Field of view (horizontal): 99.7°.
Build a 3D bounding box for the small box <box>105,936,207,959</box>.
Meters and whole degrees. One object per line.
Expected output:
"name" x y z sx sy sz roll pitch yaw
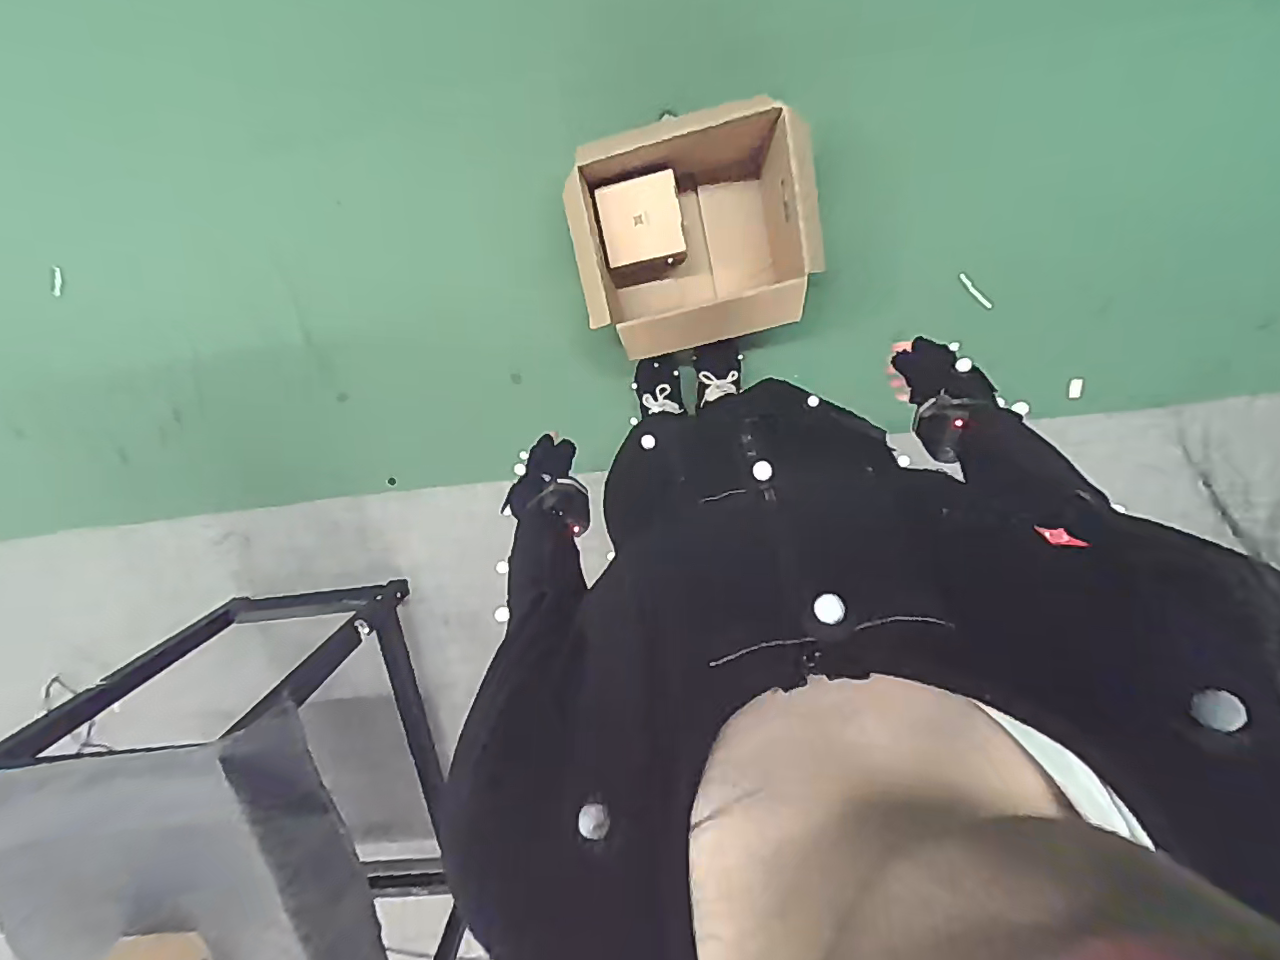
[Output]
"small box" -0.942 0.995 1.008 0.179 0.176 0.168 -7 105 6
